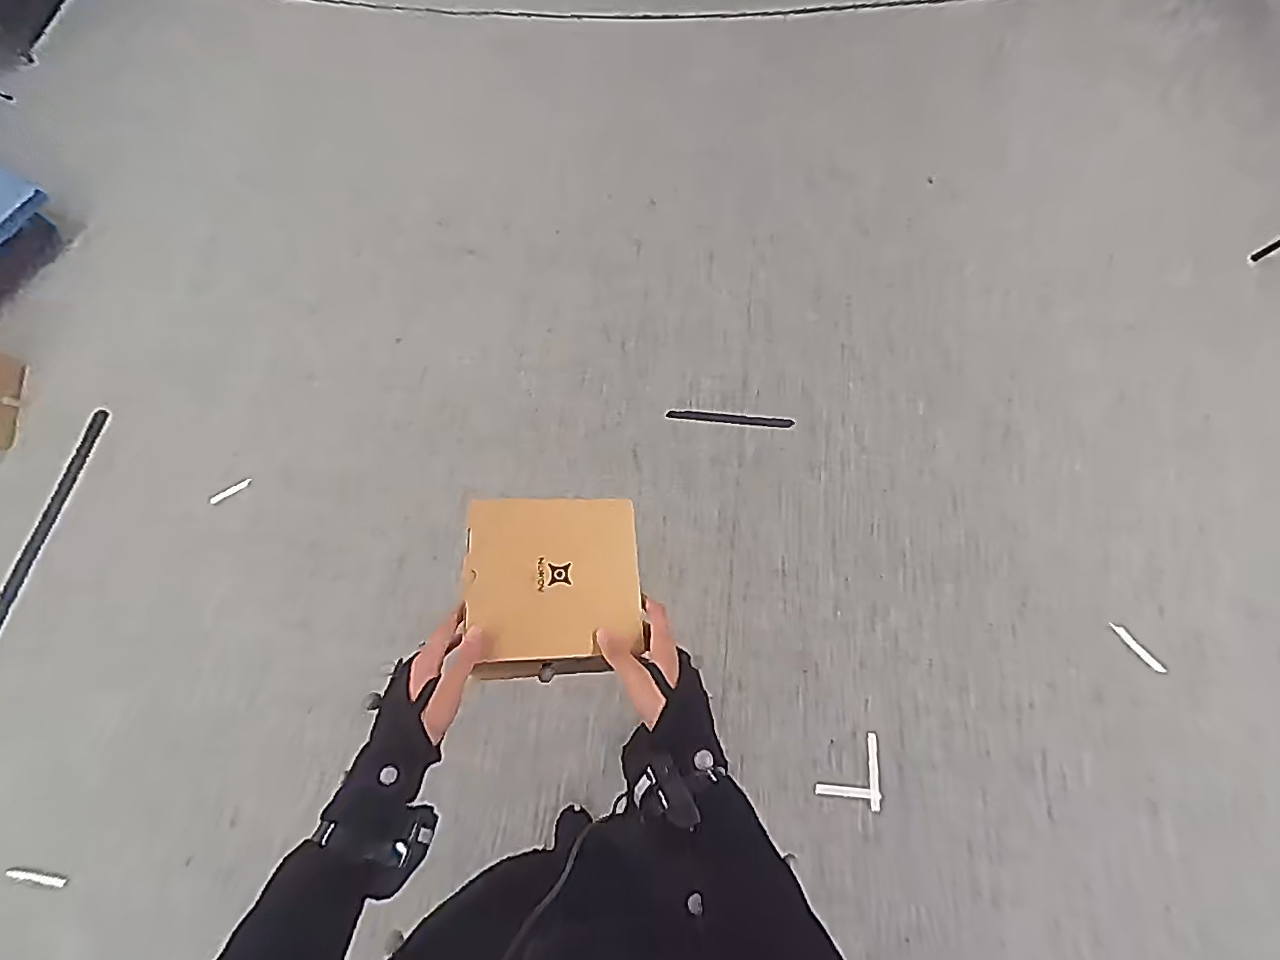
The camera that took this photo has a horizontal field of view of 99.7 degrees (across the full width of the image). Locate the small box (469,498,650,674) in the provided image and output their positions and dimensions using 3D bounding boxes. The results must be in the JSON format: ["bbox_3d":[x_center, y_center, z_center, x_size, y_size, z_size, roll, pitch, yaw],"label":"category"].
[{"bbox_3d":[-0.095,0.128,0.622,0.179,0.176,0.168,1,66,-12],"label":"small box"}]
